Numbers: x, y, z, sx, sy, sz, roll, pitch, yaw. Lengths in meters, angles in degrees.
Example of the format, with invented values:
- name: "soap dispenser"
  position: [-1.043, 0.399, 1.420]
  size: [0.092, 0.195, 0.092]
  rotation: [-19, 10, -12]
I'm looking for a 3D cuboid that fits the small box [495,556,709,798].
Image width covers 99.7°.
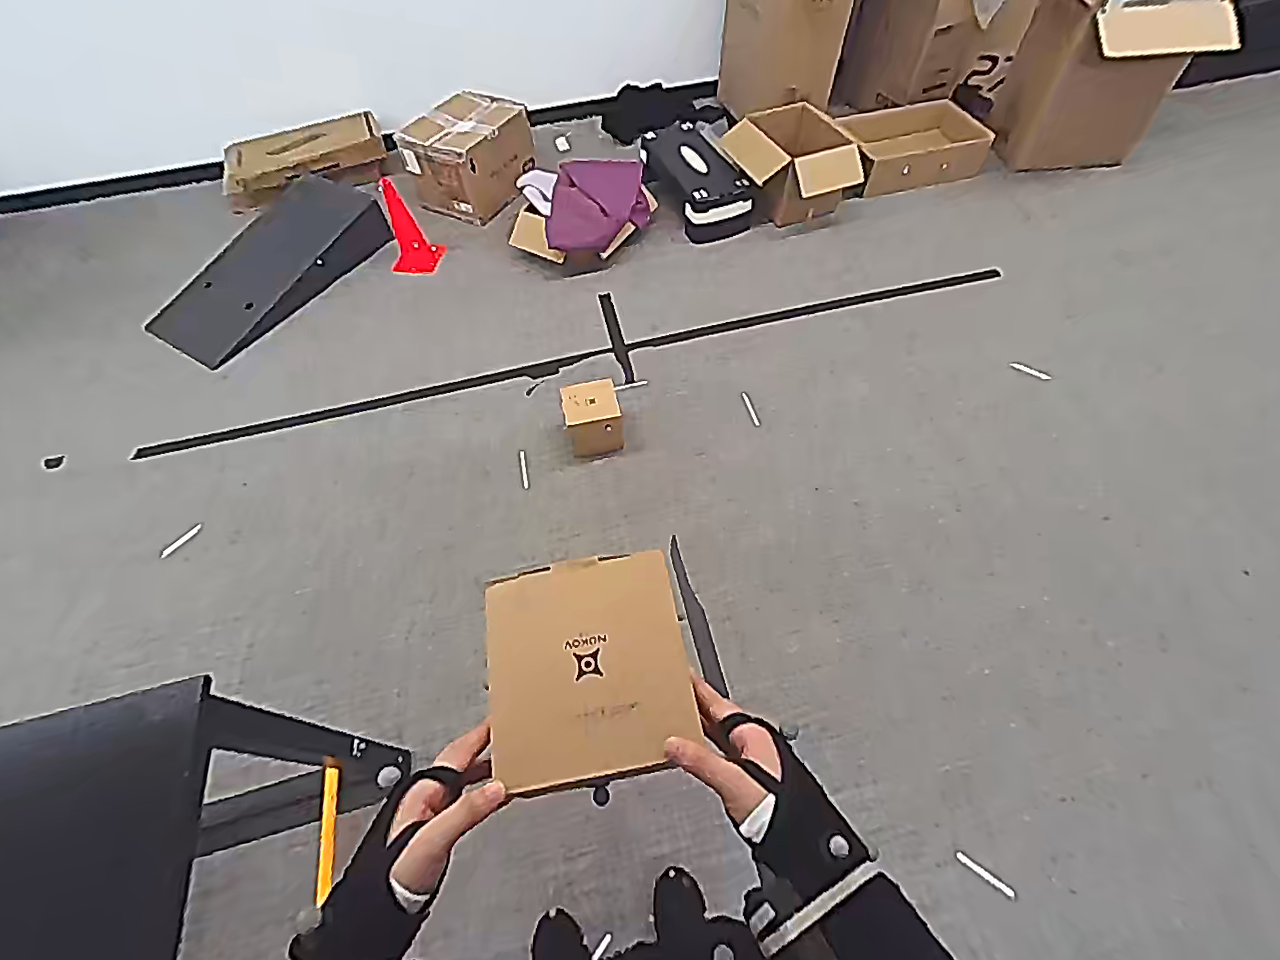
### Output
- name: "small box"
  position: [-0.039, 0.197, 0.528]
  size: [0.168, 0.176, 0.179]
  rotation: [-10, 60, -4]

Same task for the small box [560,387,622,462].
- name: "small box"
  position: [-0.157, -0.181, 1.792]
  size: [0.179, 0.176, 0.168]
  rotation: [-12, 57, -4]
